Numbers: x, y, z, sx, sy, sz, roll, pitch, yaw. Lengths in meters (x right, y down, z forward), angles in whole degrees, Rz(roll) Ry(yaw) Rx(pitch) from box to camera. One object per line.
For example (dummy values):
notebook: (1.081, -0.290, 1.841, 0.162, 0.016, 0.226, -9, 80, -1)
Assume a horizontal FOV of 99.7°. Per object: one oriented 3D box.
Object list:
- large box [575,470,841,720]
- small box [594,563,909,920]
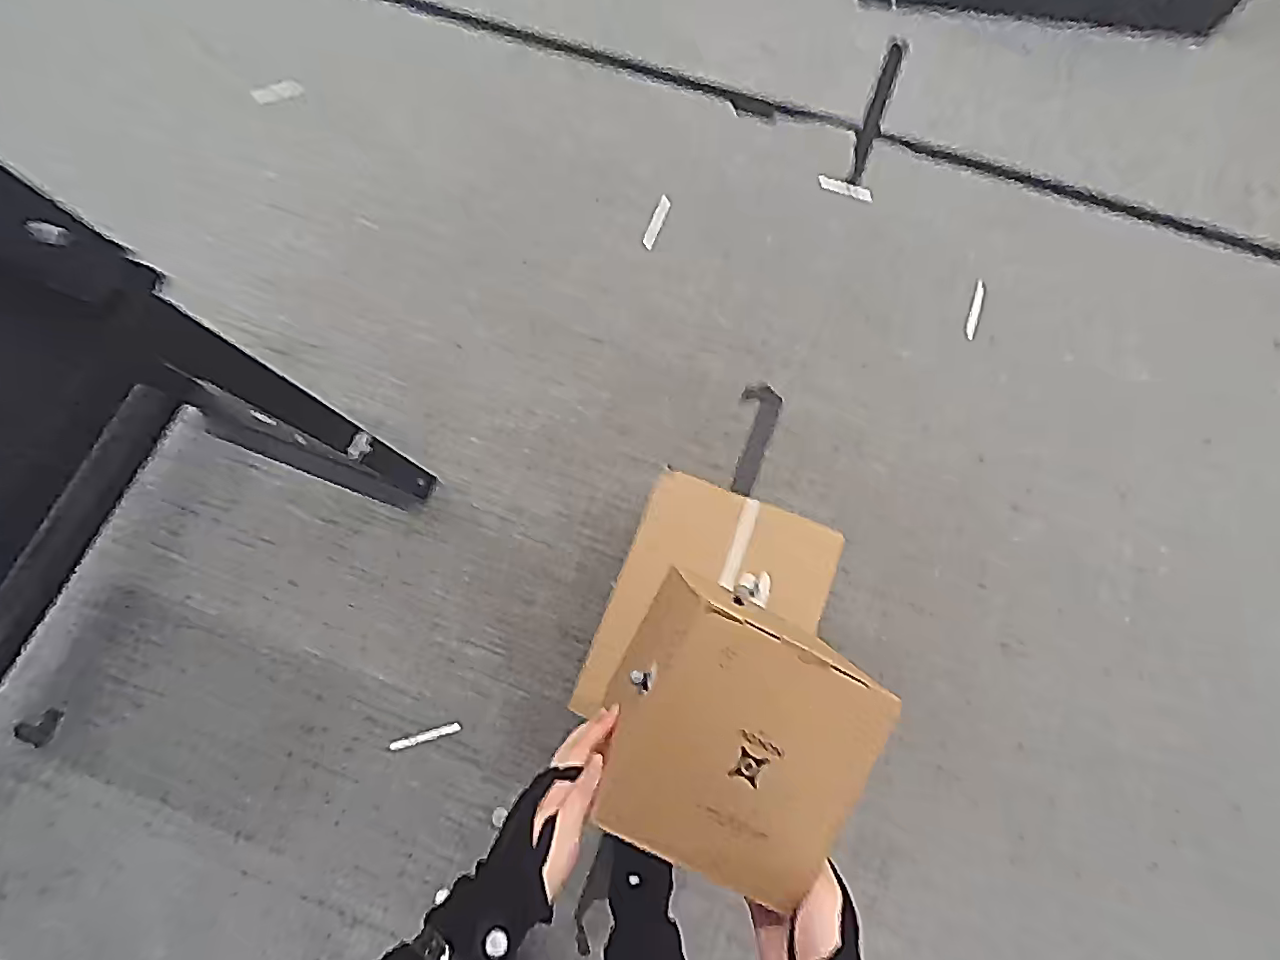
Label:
large box: (0.112, 0.253, 0.974, 0.320, 0.320, 0.408, 21, 75, 4)
small box: (0.071, 0.188, 0.446, 0.168, 0.176, 0.179, 29, 89, -5)
